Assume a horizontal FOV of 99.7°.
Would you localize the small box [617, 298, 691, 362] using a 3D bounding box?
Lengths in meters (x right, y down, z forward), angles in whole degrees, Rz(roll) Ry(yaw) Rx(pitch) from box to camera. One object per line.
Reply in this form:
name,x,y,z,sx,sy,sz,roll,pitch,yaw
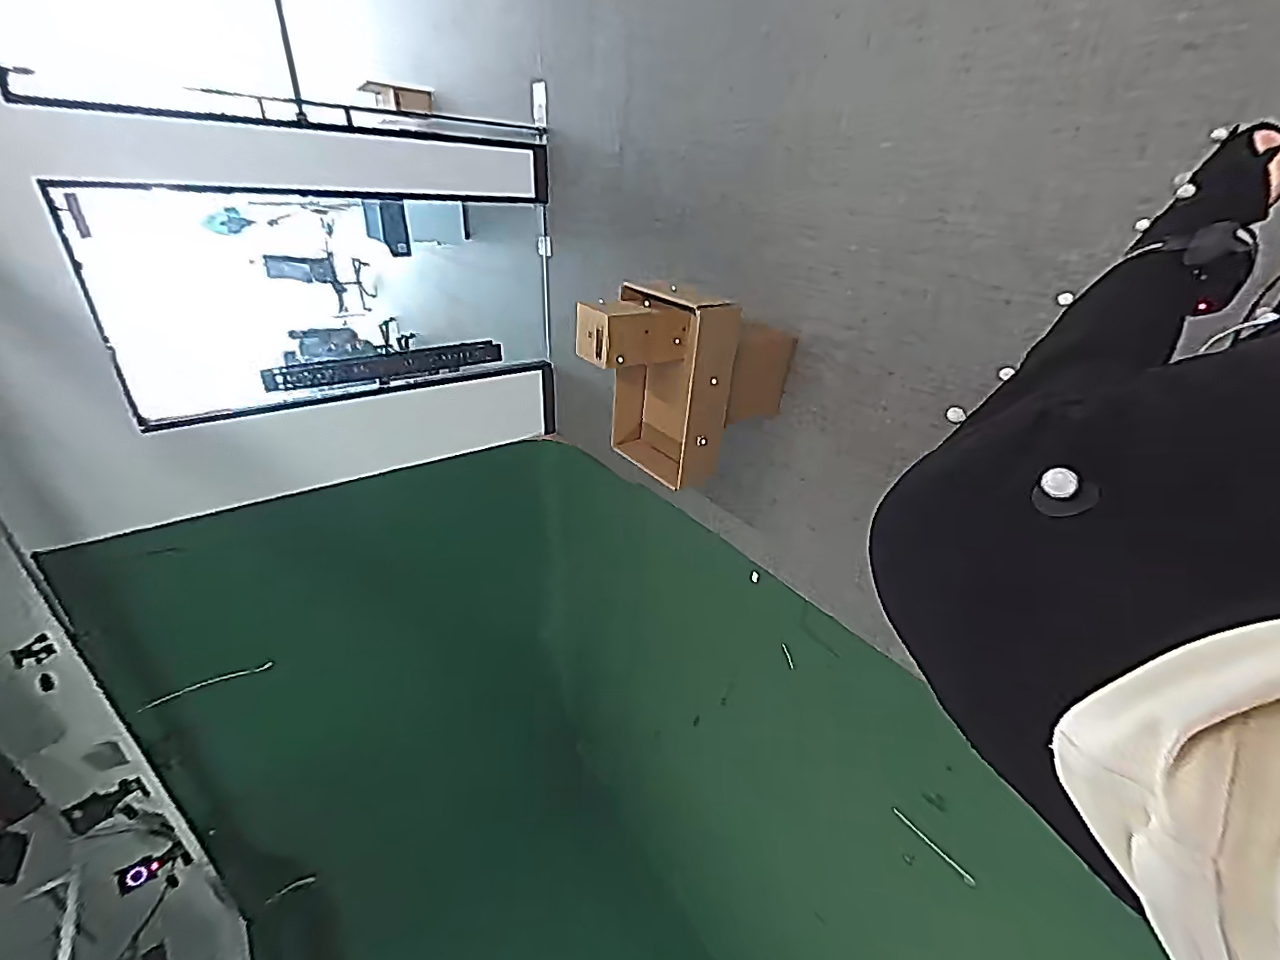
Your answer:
small box,0.044,-0.505,1.799,0.179,0.176,0.168,35,131,41
